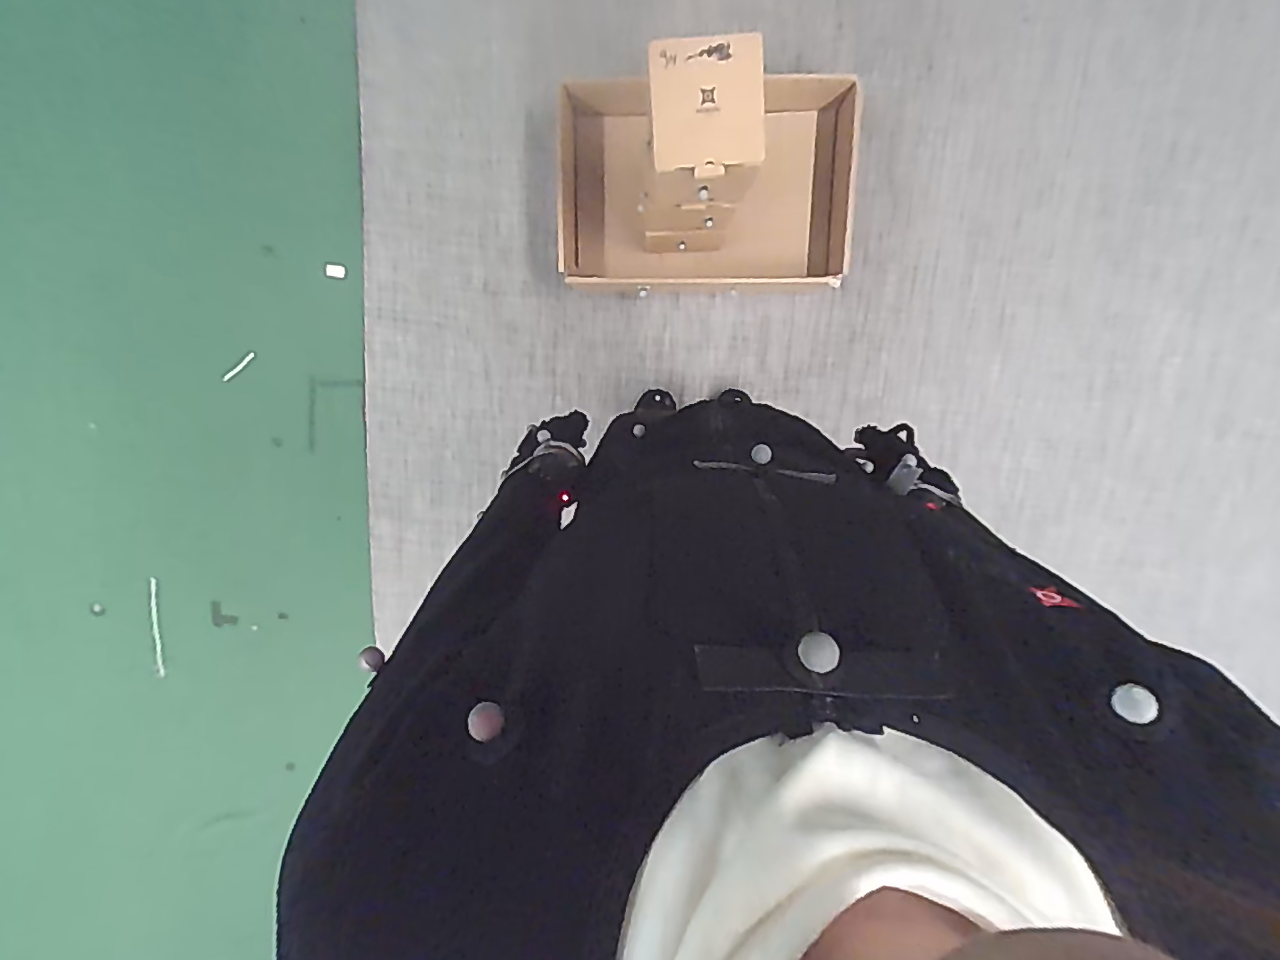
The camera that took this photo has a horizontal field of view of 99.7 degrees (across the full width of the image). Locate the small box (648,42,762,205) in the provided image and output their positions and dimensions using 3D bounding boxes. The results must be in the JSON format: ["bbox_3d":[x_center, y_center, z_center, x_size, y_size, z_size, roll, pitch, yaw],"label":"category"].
[{"bbox_3d":[0.096,-0.556,0.870,0.168,0.176,0.179,-1,101,1],"label":"small box"}]

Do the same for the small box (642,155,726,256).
[{"bbox_3d":[0.095,-0.600,1.192,0.179,0.176,0.168,0,100,3],"label":"small box"}]

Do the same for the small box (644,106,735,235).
[{"bbox_3d":[0.093,-0.580,1.032,0.168,0.176,0.179,1,99,0],"label":"small box"}]
